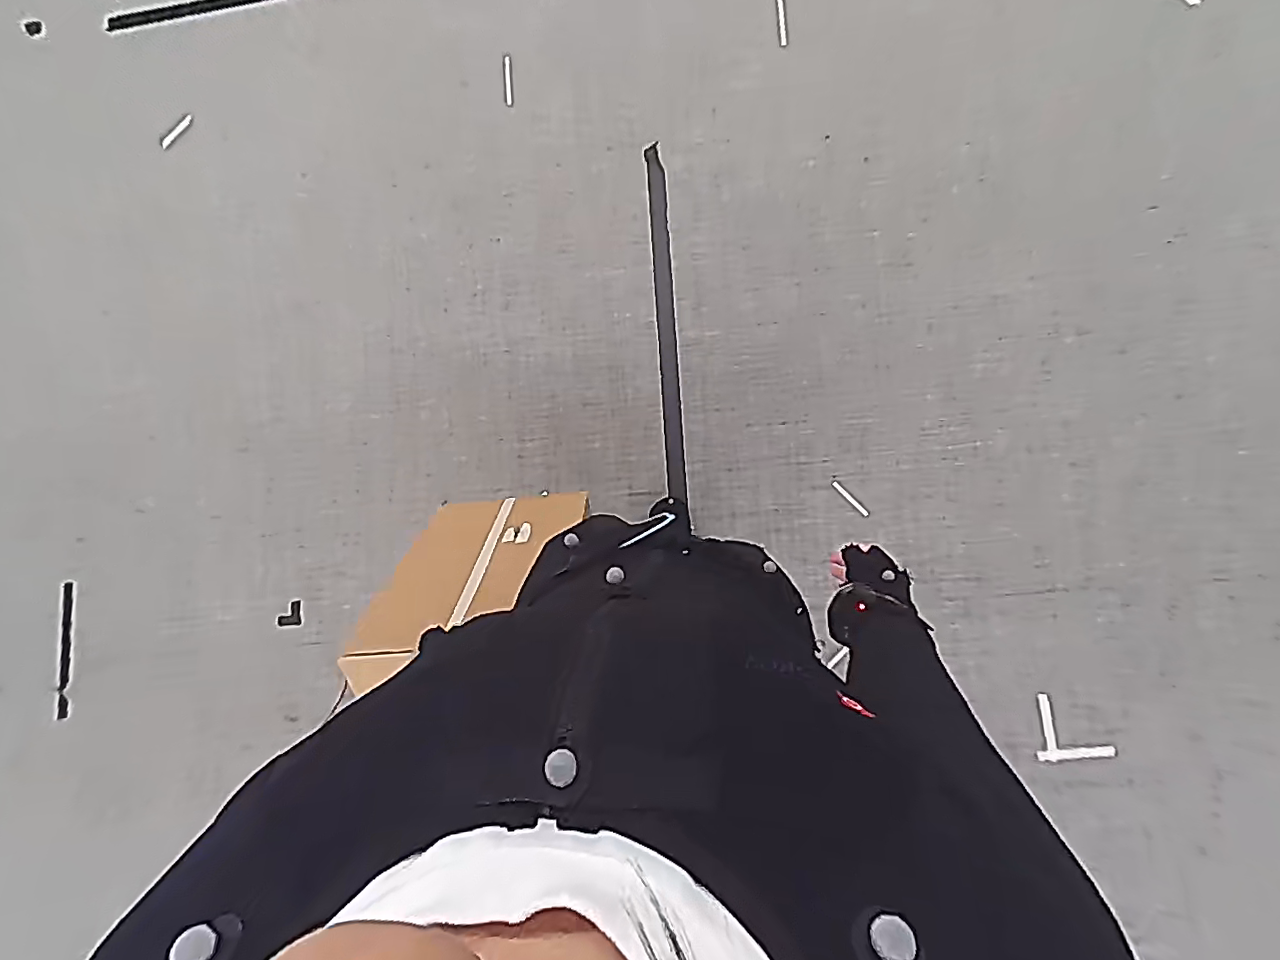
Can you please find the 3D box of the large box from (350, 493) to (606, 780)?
[{"bbox_3d":[-0.244,0.265,0.991,0.320,0.408,0.320,-4,118,4],"label":"large box"}]
